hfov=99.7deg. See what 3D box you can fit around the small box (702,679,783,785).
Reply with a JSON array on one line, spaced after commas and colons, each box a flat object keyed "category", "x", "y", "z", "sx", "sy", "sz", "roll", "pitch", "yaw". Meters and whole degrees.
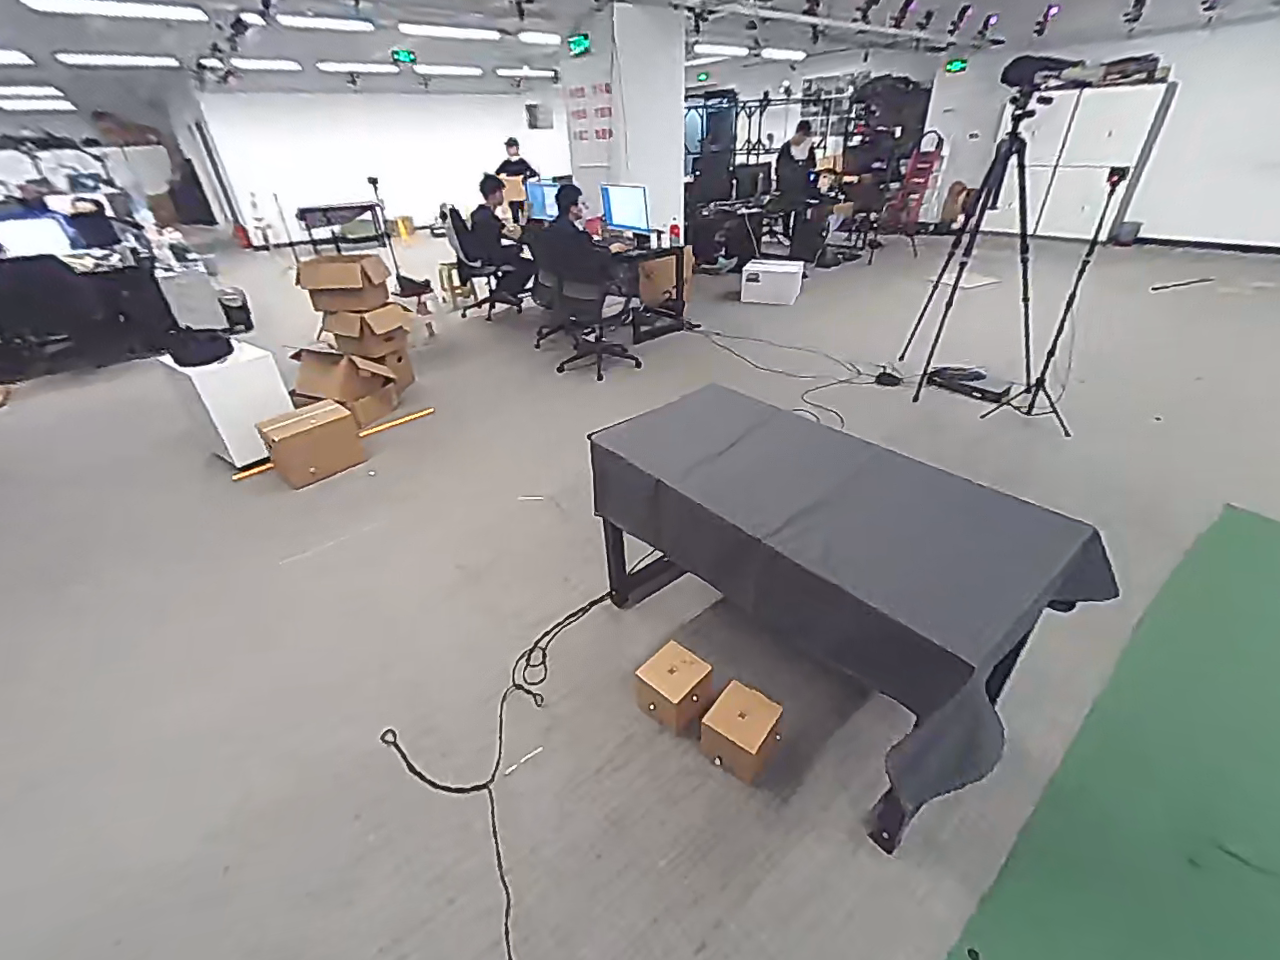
[{"category": "small box", "x": 0.287, "y": 0.717, "z": 1.546, "sx": 0.168, "sy": 0.176, "sz": 0.179, "roll": 22, "pitch": 39, "yaw": 33}]
